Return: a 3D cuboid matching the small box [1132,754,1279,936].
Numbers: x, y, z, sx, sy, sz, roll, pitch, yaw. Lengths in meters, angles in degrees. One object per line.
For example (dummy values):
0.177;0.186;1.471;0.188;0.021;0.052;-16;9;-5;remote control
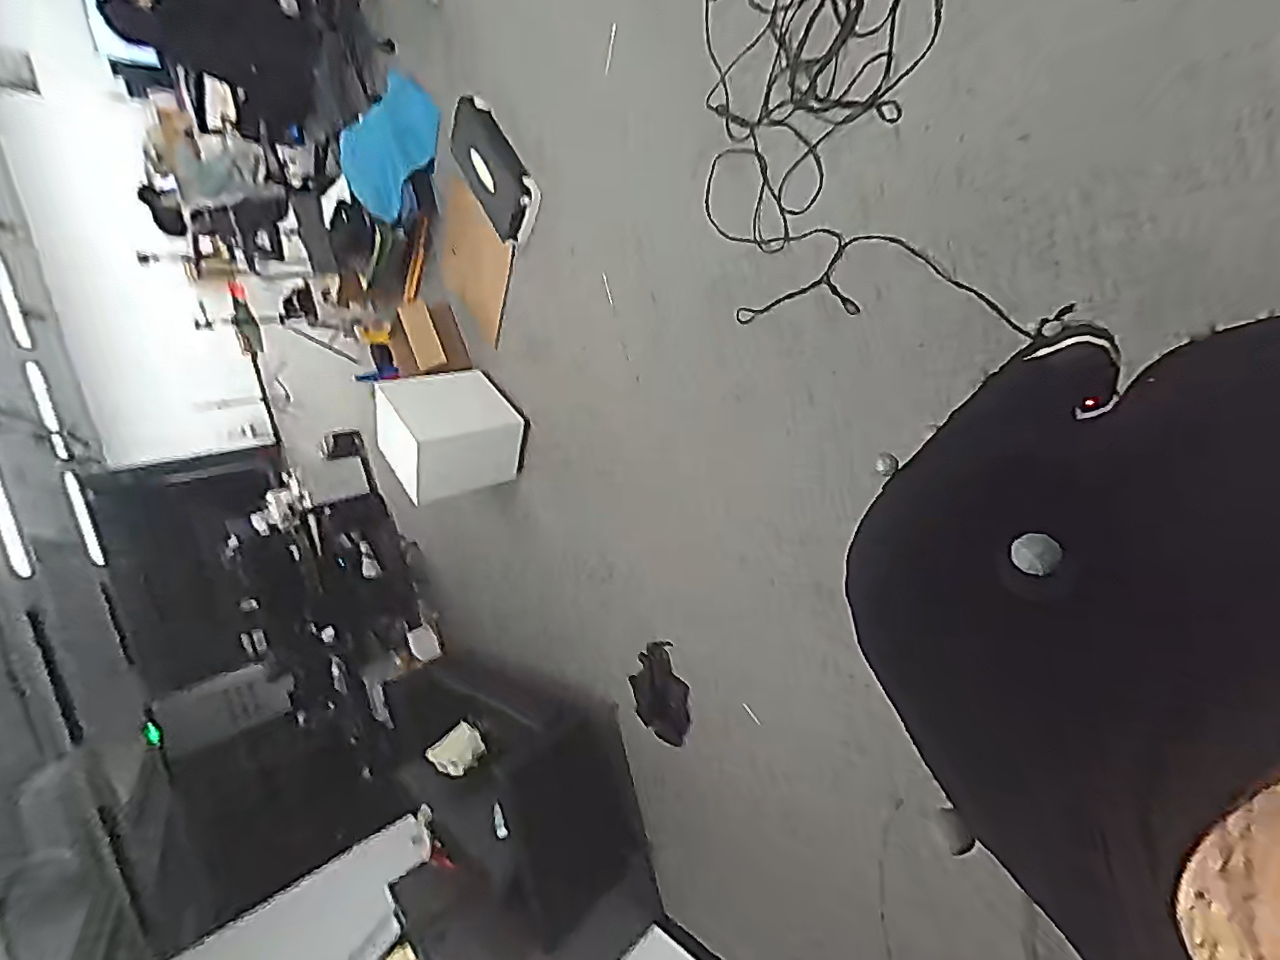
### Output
0.948;0.571;0.857;0.179;0.176;0.168;58;140;17;small box
